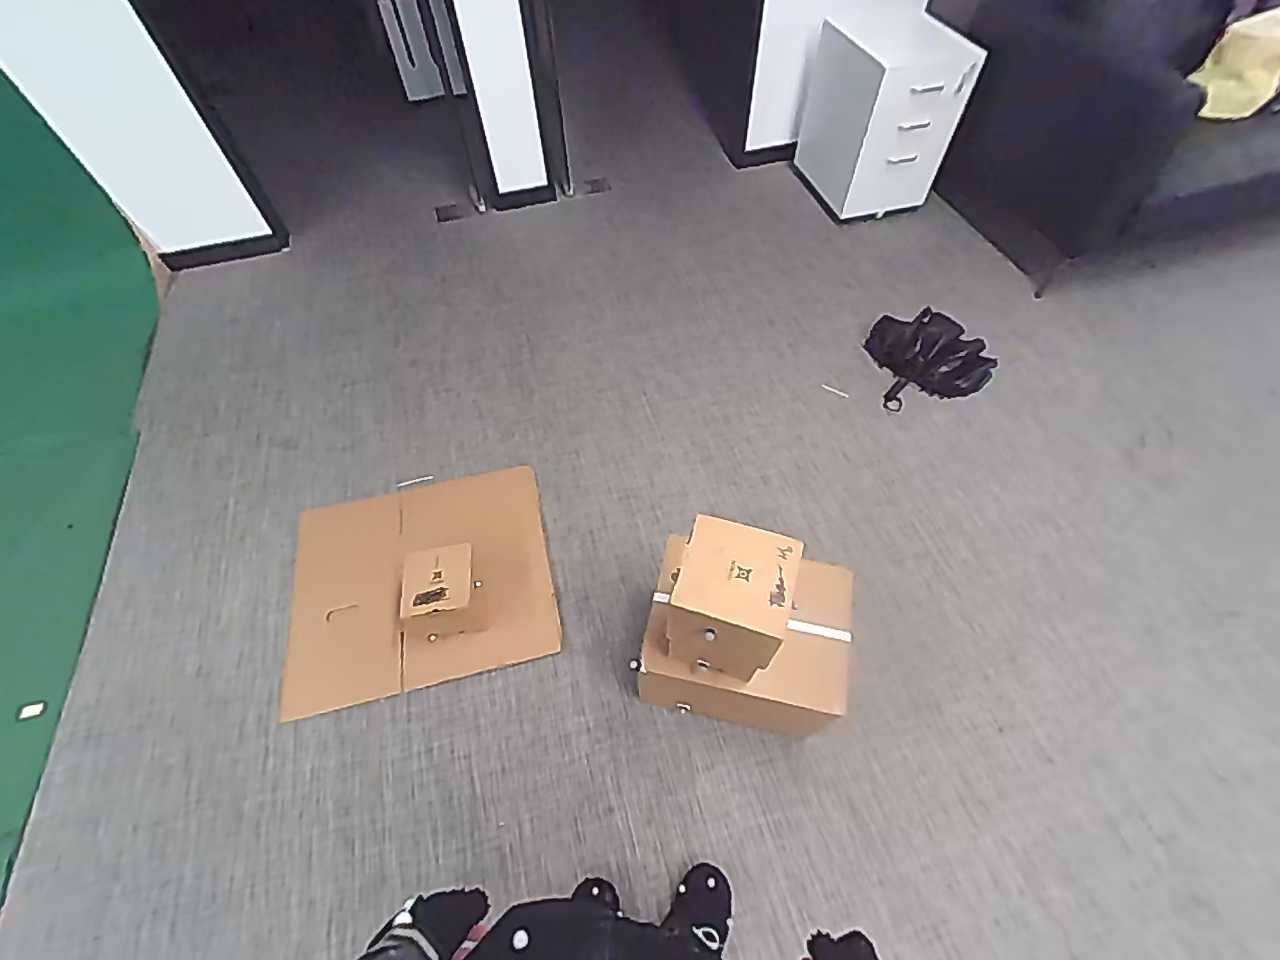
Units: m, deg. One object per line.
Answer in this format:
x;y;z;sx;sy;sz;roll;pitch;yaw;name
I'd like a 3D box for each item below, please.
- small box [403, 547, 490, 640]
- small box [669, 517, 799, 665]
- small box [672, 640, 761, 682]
-0.485;0.296;1.383;0.168;0.176;0.179;-8;54;-3;small box
0.150;0.188;0.894;0.179;0.176;0.168;12;56;10;small box
0.156;0.265;1.037;0.168;0.176;0.179;12;59;11;small box
